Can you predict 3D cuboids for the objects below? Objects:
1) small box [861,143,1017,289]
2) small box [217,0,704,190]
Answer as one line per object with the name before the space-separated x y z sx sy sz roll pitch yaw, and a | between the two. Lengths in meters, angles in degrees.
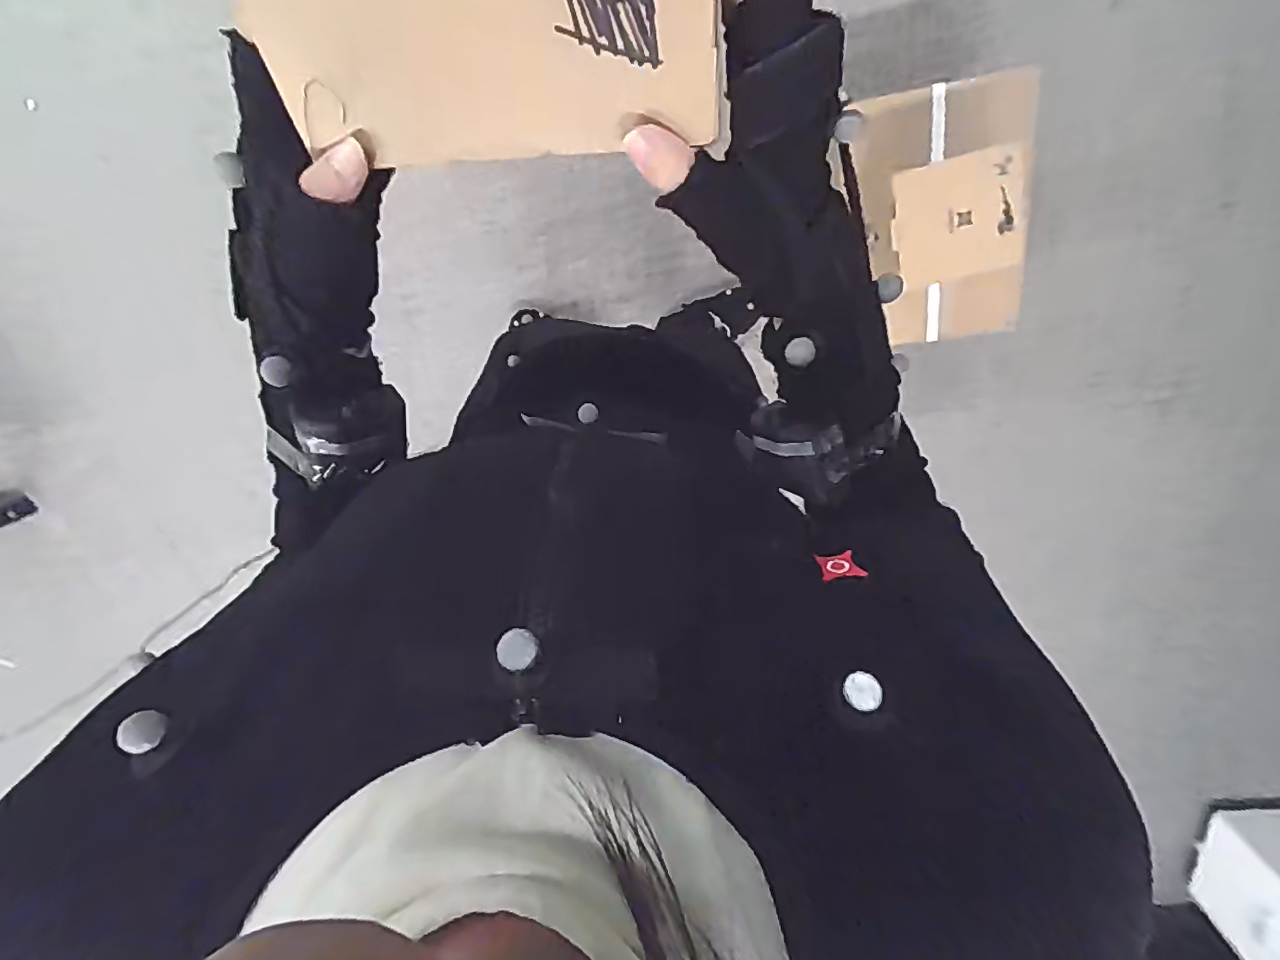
small box | 0.464 -0.412 0.866 0.179 0.176 0.168 -11 112 9
small box | -0.062 -0.244 0.224 0.179 0.176 0.168 1 139 7
